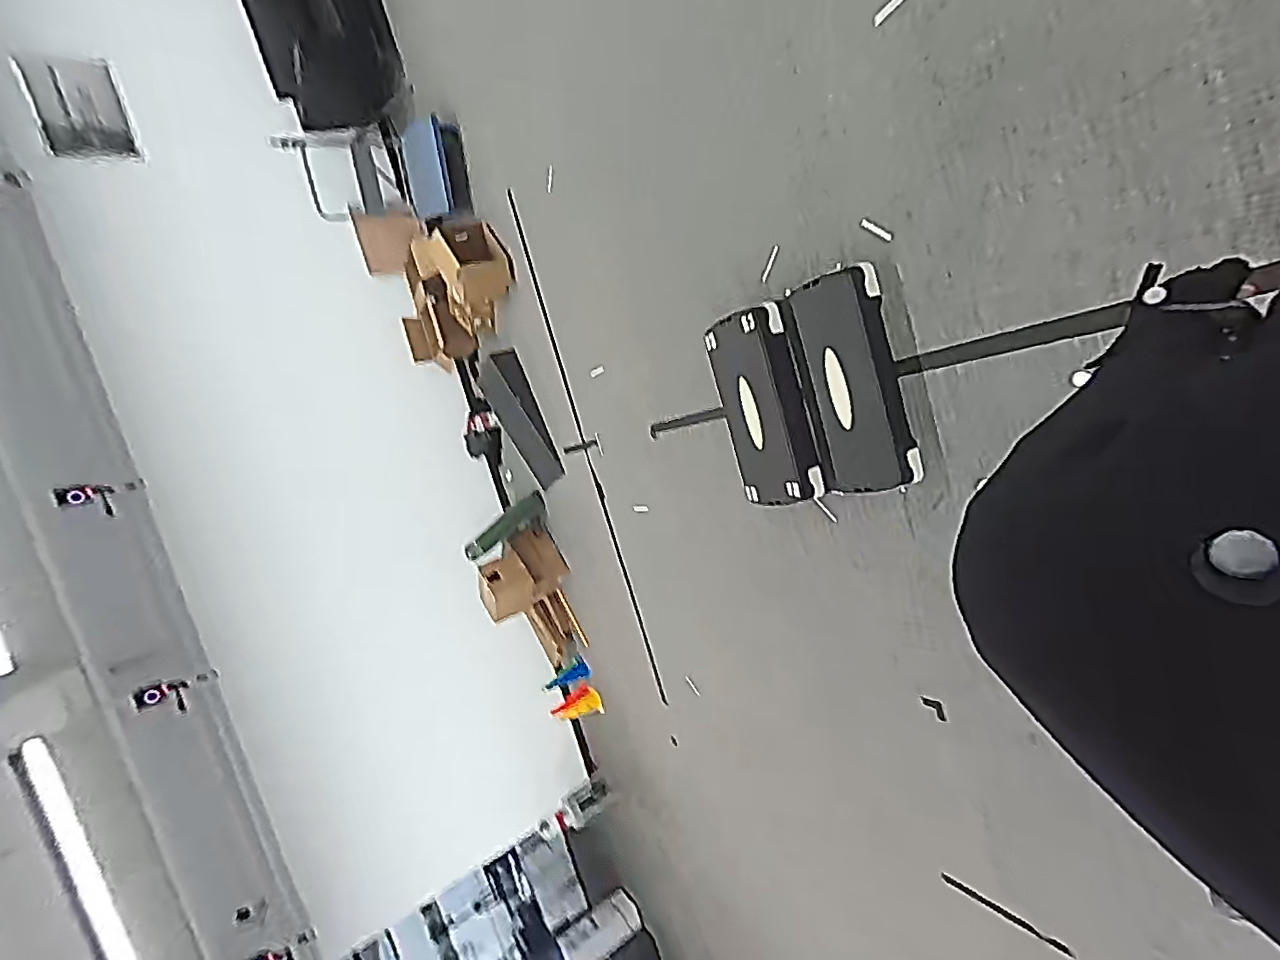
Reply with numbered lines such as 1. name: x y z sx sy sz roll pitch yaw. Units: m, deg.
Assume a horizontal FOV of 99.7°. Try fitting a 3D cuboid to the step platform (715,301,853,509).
1. step platform: 0.483 -0.242 1.852 0.286 0.204 0.684 -10 97 59
